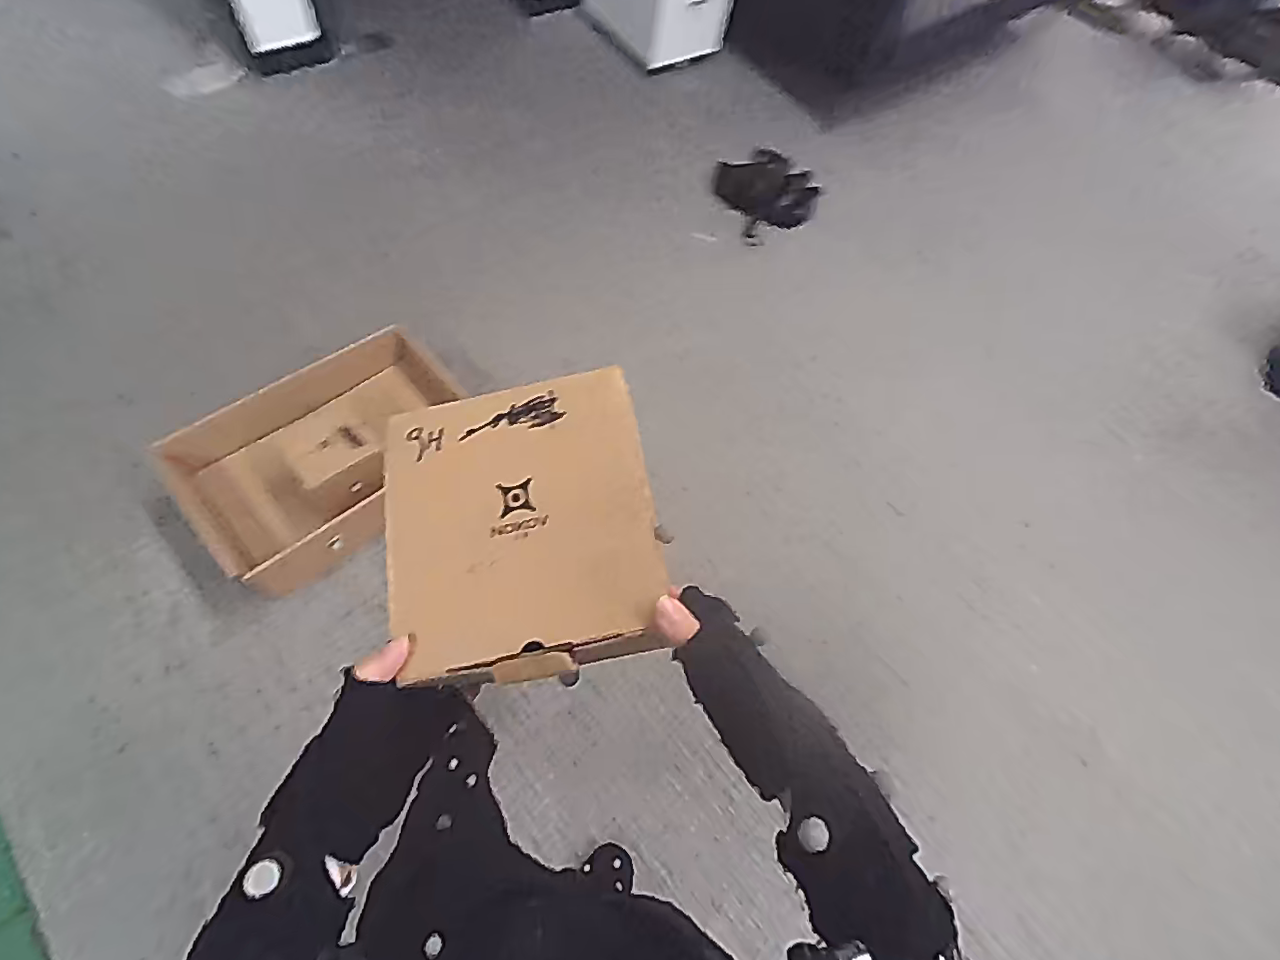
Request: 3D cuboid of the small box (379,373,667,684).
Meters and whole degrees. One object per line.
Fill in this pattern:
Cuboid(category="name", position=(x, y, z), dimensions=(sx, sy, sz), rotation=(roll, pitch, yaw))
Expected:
Cuboid(category="small box", position=(-0.076, 0.048, 0.418), dimensions=(0.168, 0.176, 0.179), rotation=(-13, 70, 0))

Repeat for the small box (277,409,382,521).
Cuboid(category="small box", position=(-0.717, -0.033, 1.302), dimensions=(0.179, 0.176, 0.168), rotation=(-36, 74, -23))
